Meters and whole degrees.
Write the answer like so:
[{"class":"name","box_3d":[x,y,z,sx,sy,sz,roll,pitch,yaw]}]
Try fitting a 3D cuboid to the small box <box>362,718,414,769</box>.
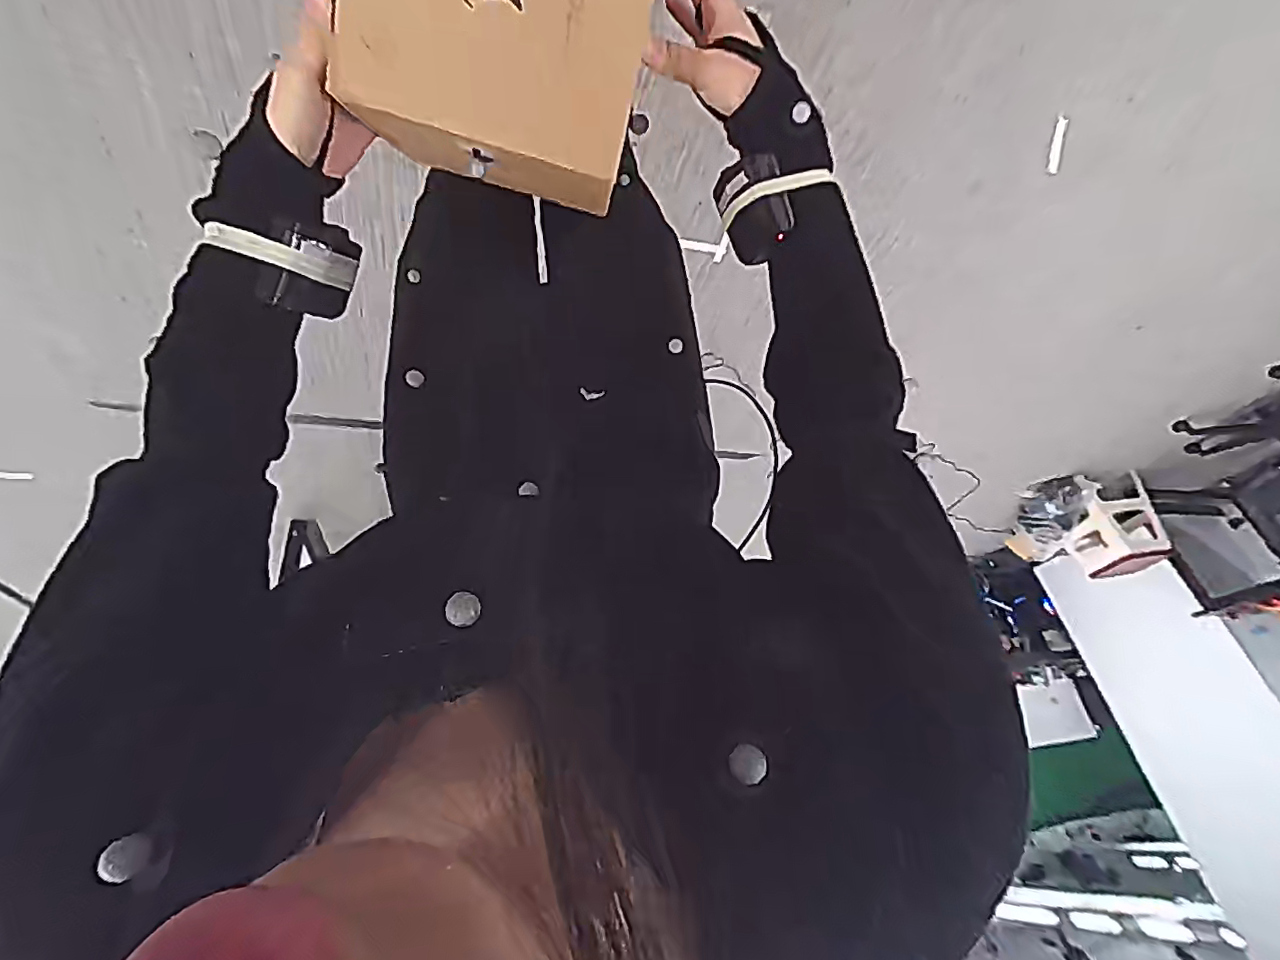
[{"class":"small box","box_3d":[-1.035,1.092,2.225,0.179,0.176,0.168,5,146,-23]}]
